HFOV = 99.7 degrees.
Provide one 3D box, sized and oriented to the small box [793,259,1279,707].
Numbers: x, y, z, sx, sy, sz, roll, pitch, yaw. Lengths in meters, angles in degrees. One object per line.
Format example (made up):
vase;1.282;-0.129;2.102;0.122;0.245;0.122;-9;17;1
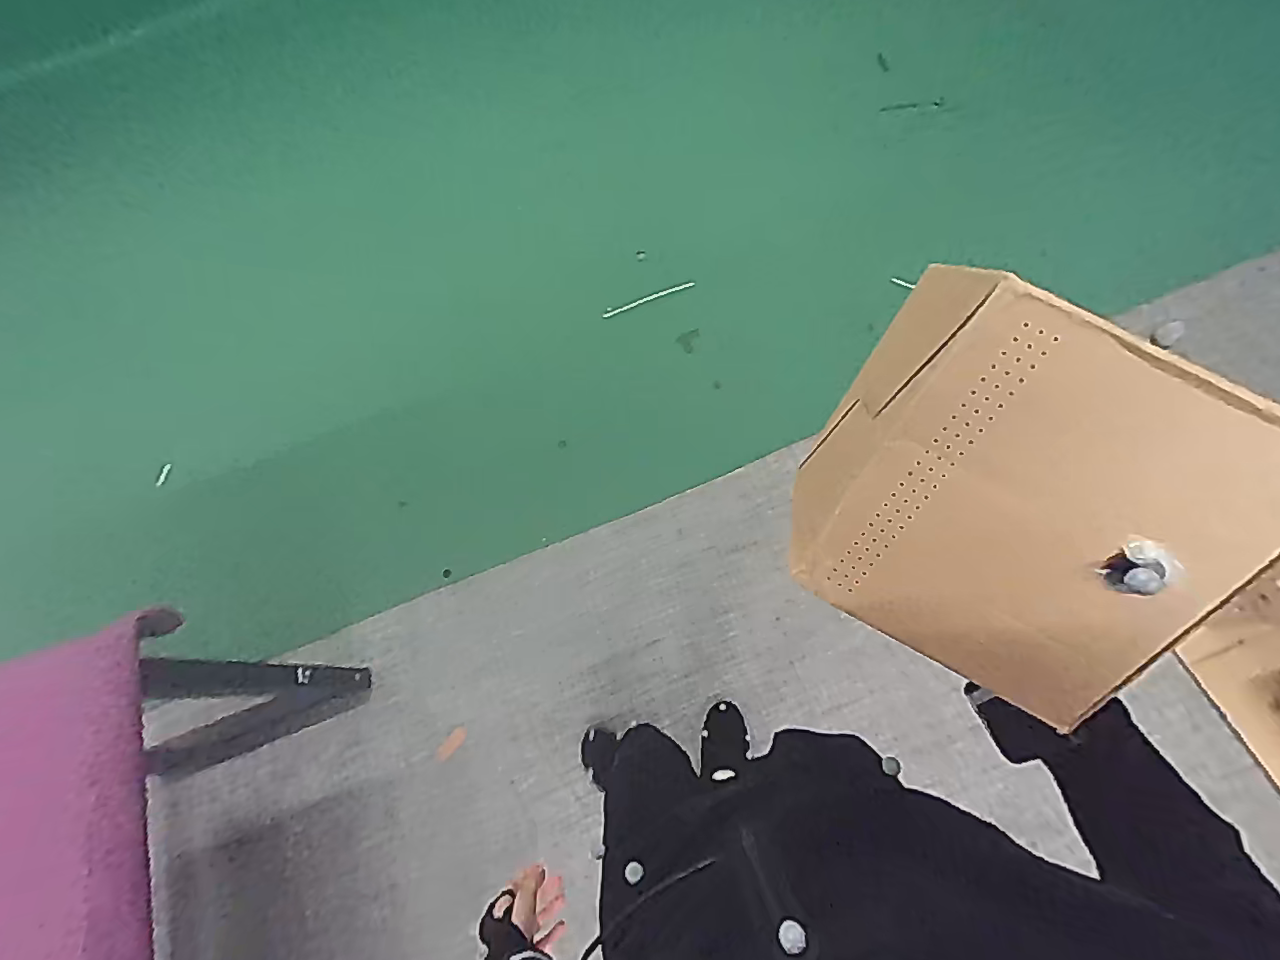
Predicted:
small box;0.209;-0.014;0.322;0.176;0.168;0.179;30;117;5
